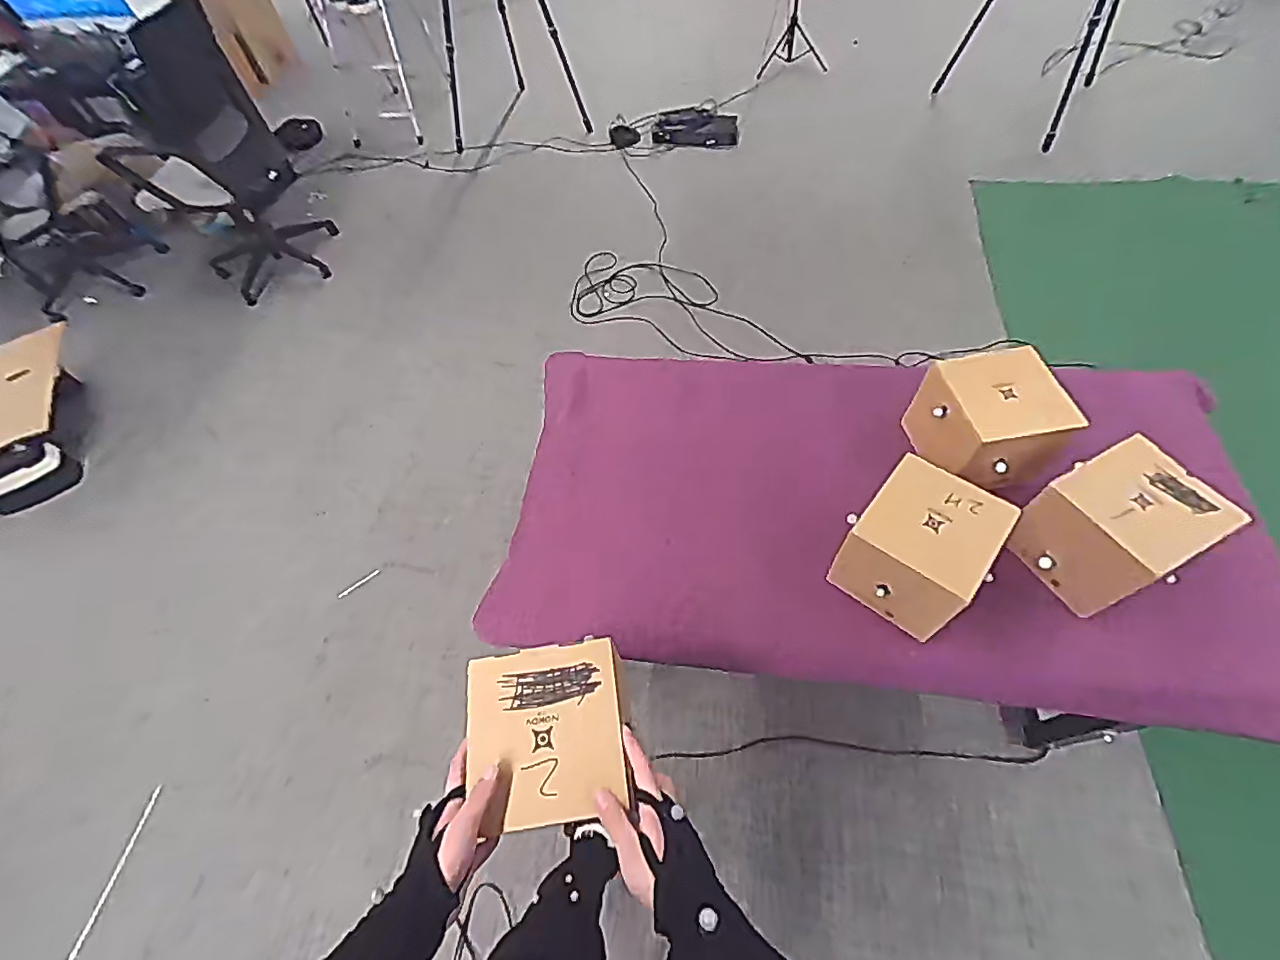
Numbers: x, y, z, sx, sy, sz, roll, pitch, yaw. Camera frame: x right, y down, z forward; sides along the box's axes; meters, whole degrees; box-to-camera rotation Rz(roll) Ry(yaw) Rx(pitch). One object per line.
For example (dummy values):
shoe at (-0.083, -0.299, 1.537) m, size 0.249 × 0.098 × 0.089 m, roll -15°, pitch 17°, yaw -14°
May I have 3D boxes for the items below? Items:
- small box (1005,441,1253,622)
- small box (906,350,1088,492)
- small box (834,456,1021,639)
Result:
small box at (0.692, 0.080, 0.794) m, size 0.179 × 0.176 × 0.168 m, roll -25°, pitch 58°, yaw -10°
small box at (0.586, -0.088, 0.916) m, size 0.168 × 0.176 × 0.179 m, roll -9°, pitch 57°, yaw 0°
small box at (0.409, 0.105, 0.801) m, size 0.168 × 0.176 × 0.179 m, roll 35°, pitch 66°, yaw 24°
